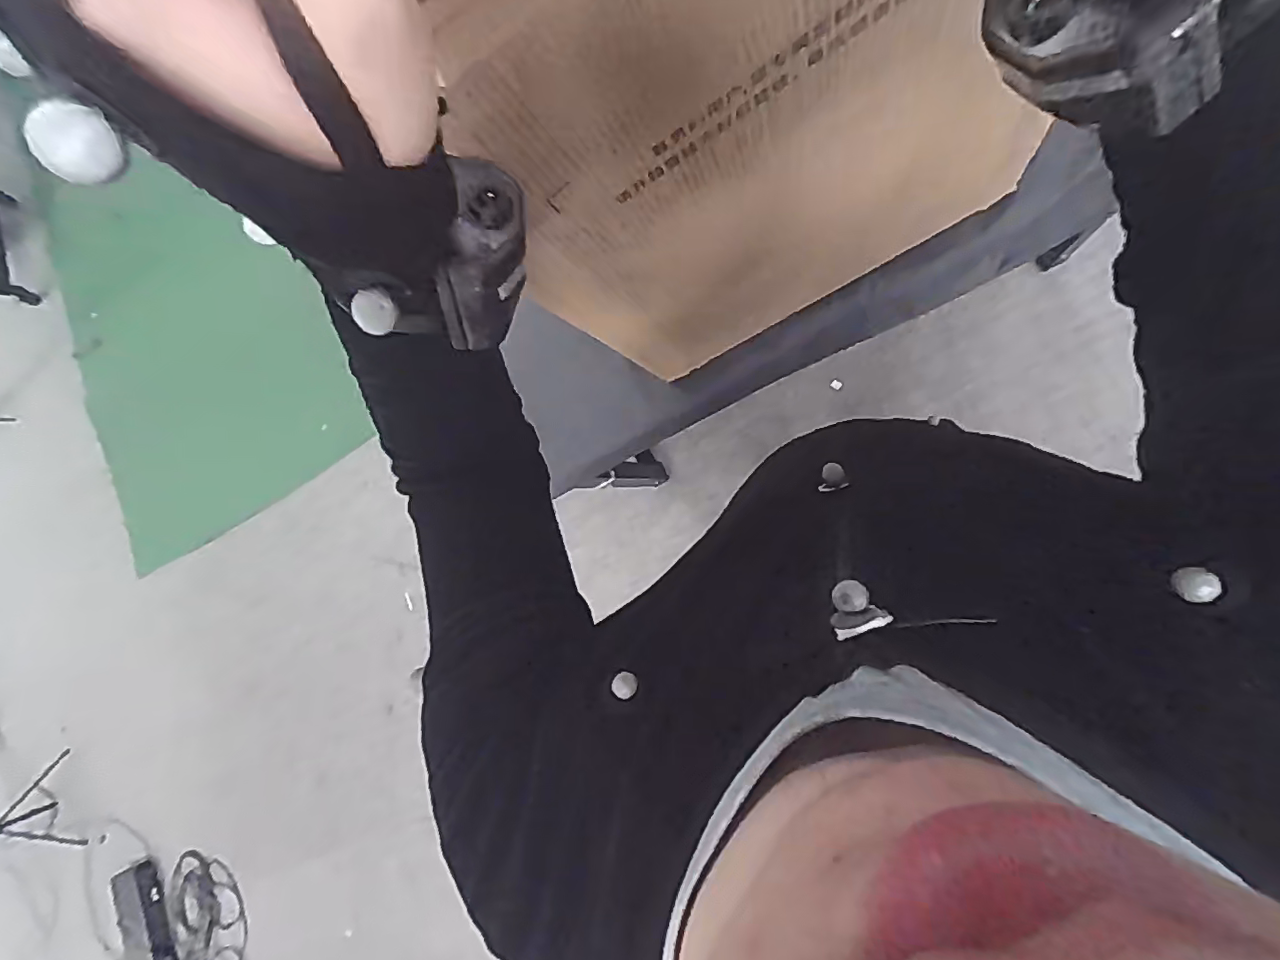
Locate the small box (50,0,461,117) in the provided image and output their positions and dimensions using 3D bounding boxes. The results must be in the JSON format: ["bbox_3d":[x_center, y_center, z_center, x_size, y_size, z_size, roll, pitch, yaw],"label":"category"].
[{"bbox_3d":[-0.176,-0.287,0.206,0.168,0.176,0.179,-24,81,20],"label":"small box"}]
